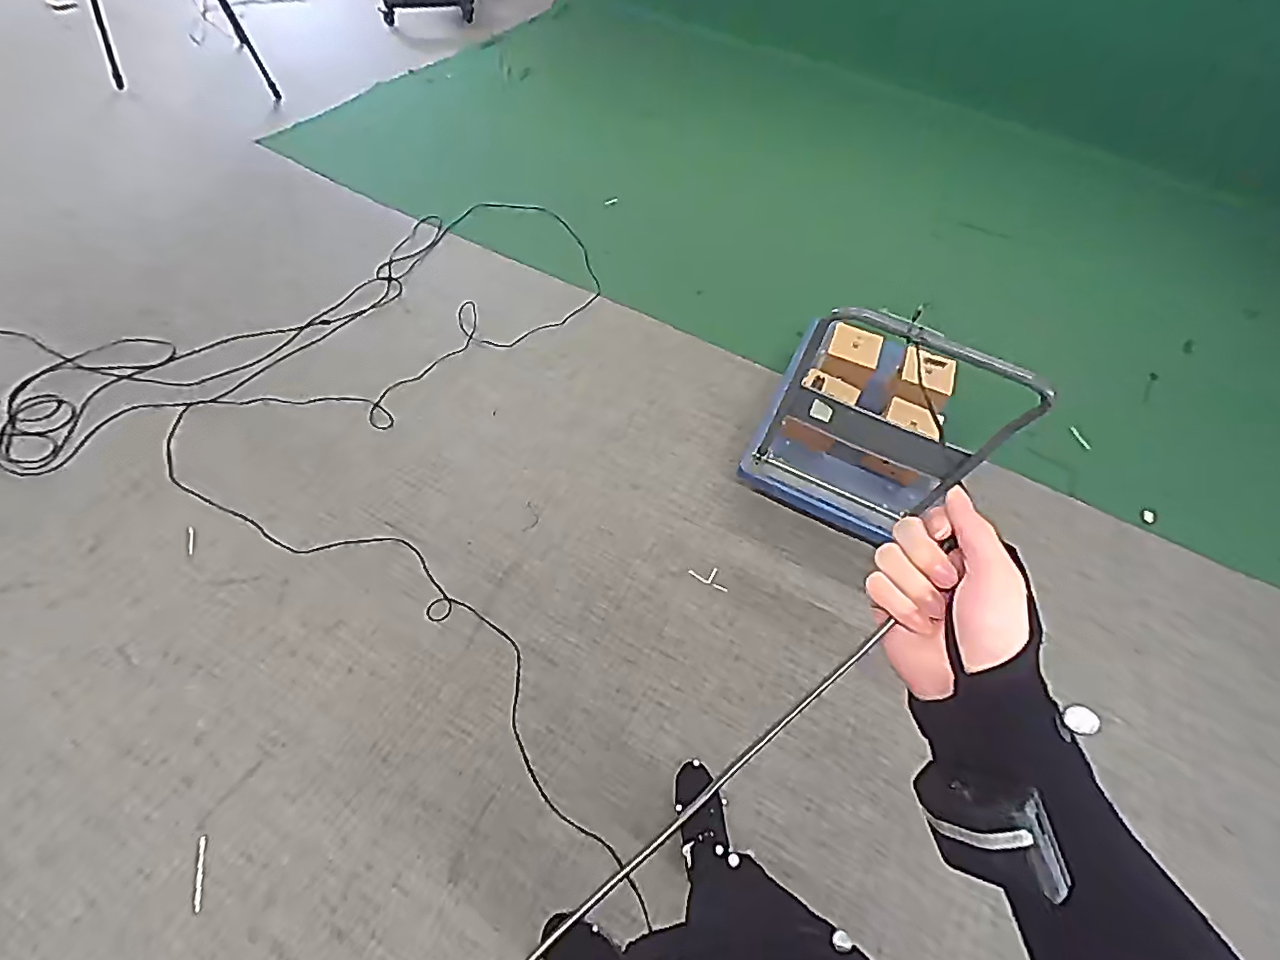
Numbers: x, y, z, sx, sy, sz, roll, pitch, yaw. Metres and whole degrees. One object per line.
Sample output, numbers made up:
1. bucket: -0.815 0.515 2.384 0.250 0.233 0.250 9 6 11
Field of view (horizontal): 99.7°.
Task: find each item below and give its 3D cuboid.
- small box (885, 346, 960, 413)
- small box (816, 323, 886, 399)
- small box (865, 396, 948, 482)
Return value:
1. small box: 0.970 -0.323 1.864 0.168 0.176 0.179 22 59 10
2. small box: 0.739 -0.415 1.905 0.168 0.176 0.179 22 58 9
3. small box: 0.846 -0.127 1.726 0.168 0.176 0.179 26 59 12
